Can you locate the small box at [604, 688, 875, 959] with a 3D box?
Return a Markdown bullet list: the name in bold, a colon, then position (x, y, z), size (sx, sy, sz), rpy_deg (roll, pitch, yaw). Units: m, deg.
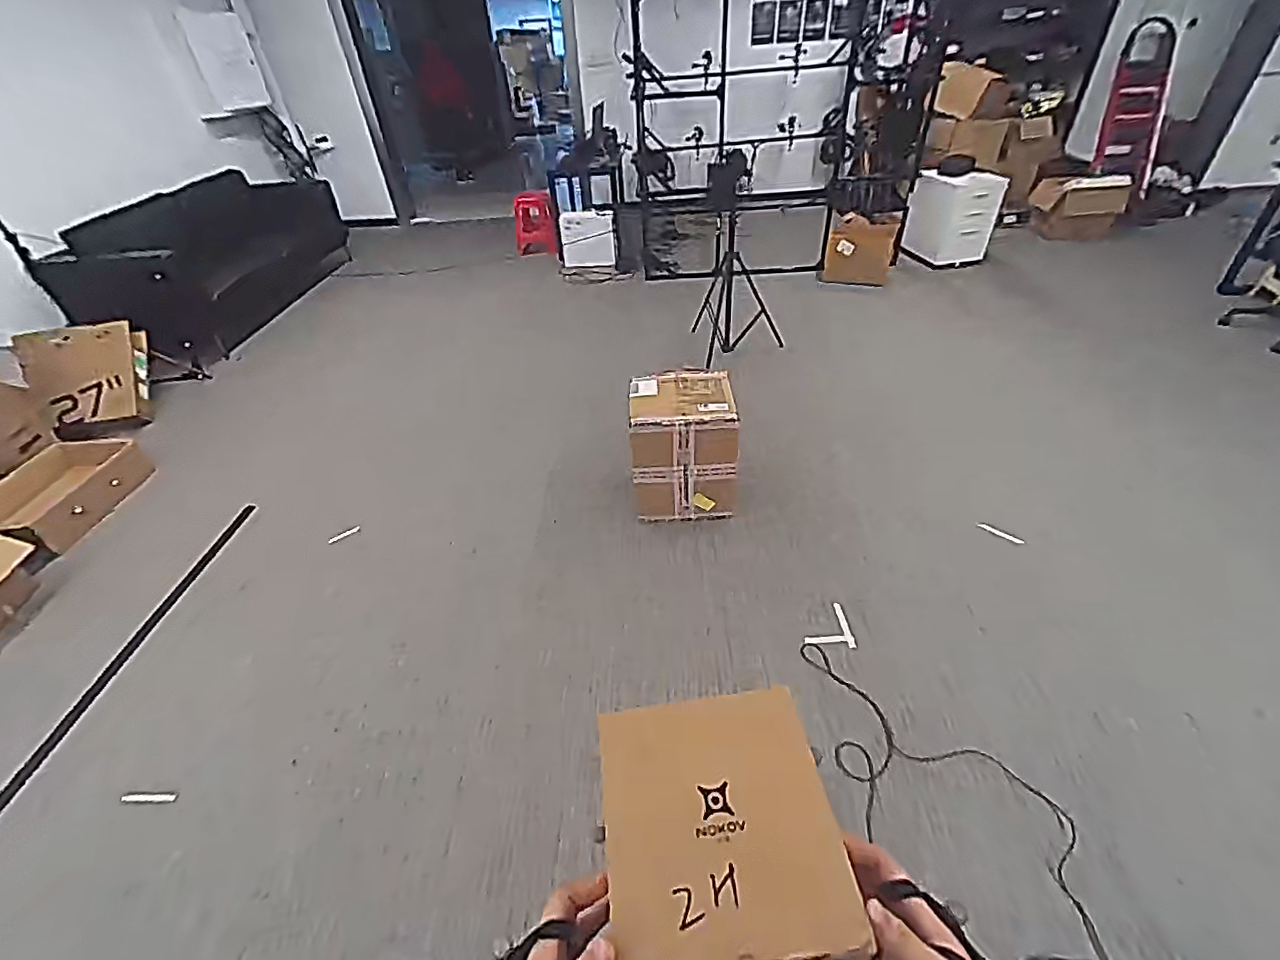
- **small box**: position (0.063, 0.303, 0.446), size (0.168, 0.176, 0.179), rpy_deg (-8, 41, -1)
